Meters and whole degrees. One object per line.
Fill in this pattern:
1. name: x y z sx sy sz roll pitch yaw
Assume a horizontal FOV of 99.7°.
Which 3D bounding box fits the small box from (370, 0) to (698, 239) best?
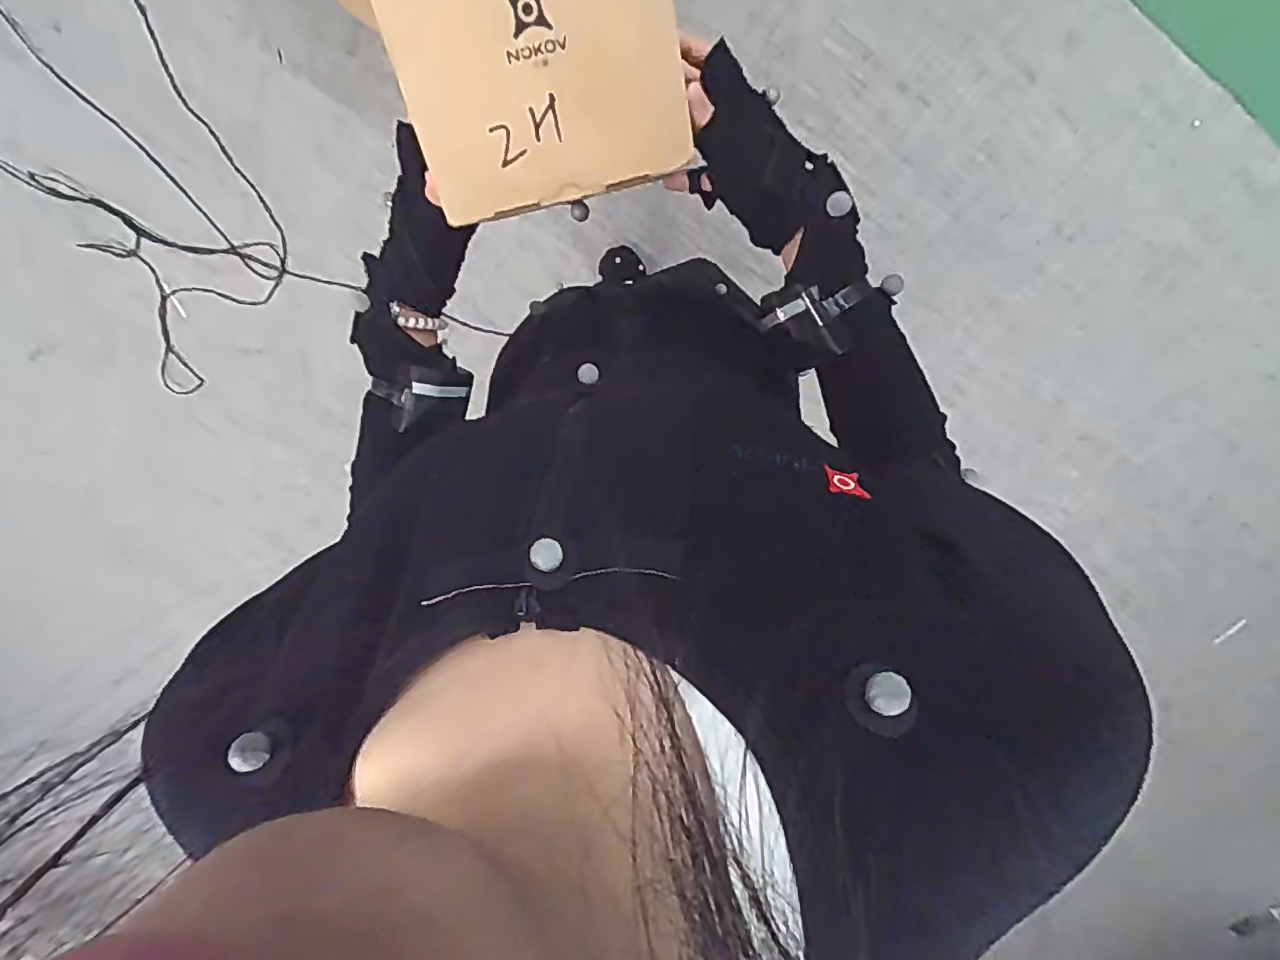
1. small box: -0.065 -0.280 0.375 0.168 0.176 0.179 -12 118 2
